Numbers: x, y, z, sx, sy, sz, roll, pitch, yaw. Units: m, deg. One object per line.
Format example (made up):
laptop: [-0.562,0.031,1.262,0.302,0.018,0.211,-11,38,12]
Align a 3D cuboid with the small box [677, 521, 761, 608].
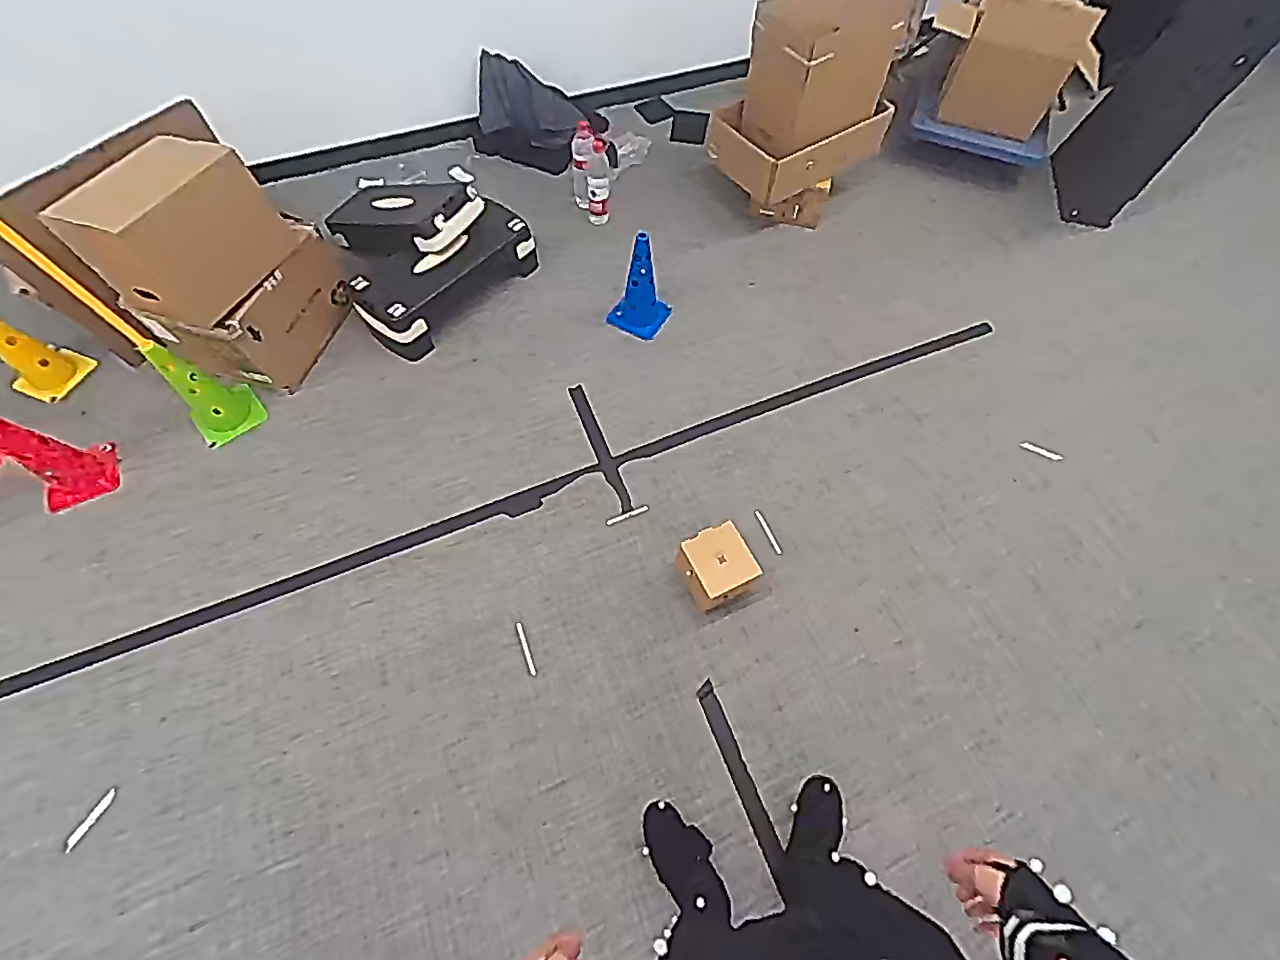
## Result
small box: [0.218,0.250,1.539,0.168,0.176,0.179,-23,65,-13]
